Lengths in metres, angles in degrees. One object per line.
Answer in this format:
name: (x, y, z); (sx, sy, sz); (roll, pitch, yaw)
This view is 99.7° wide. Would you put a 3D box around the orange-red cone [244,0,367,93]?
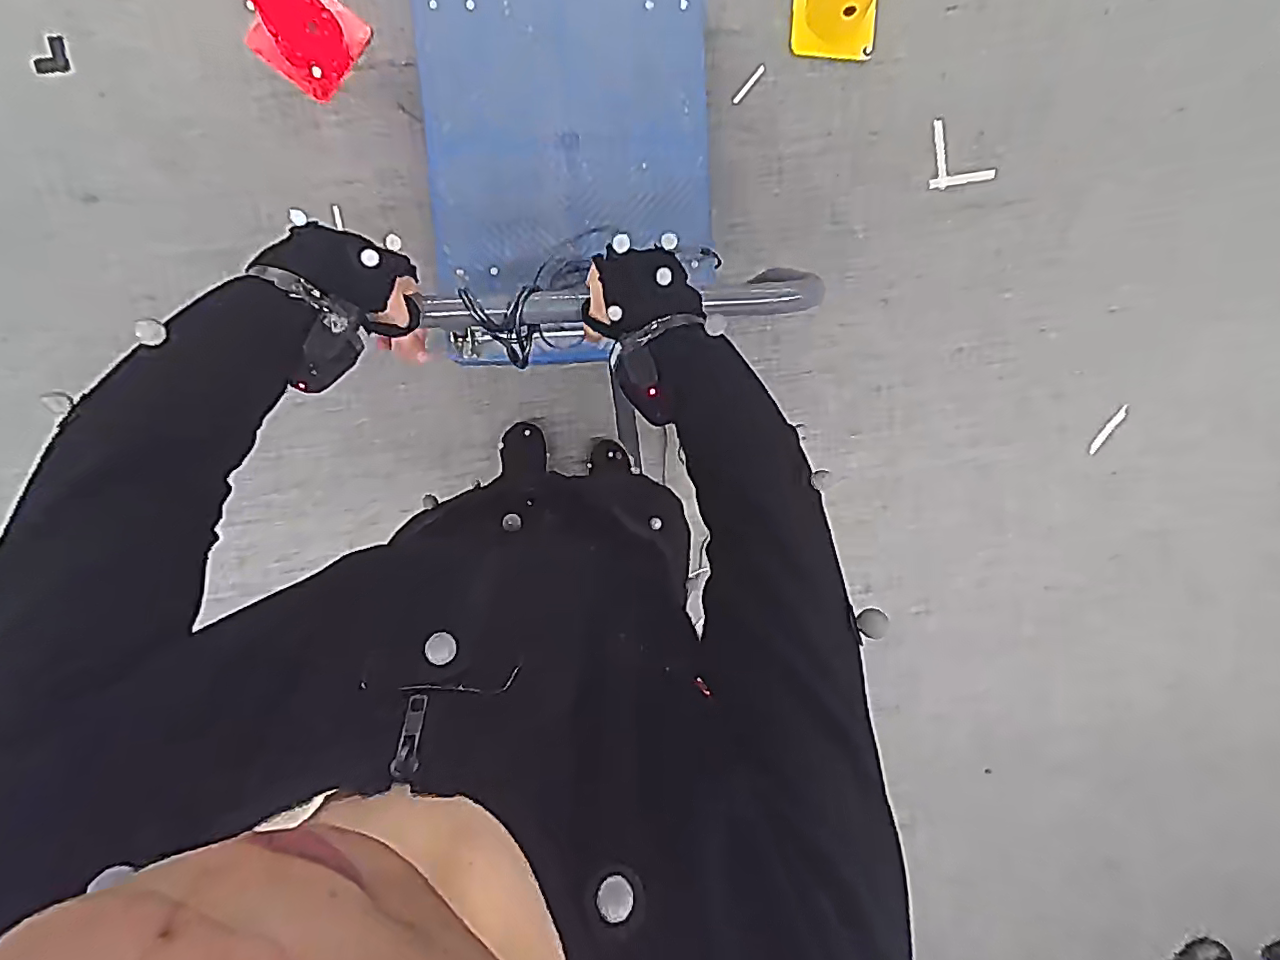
orange-red cone: (-0.699, -0.949, 0.995); (0.198, 0.360, 0.199); (37, 92, -10)
